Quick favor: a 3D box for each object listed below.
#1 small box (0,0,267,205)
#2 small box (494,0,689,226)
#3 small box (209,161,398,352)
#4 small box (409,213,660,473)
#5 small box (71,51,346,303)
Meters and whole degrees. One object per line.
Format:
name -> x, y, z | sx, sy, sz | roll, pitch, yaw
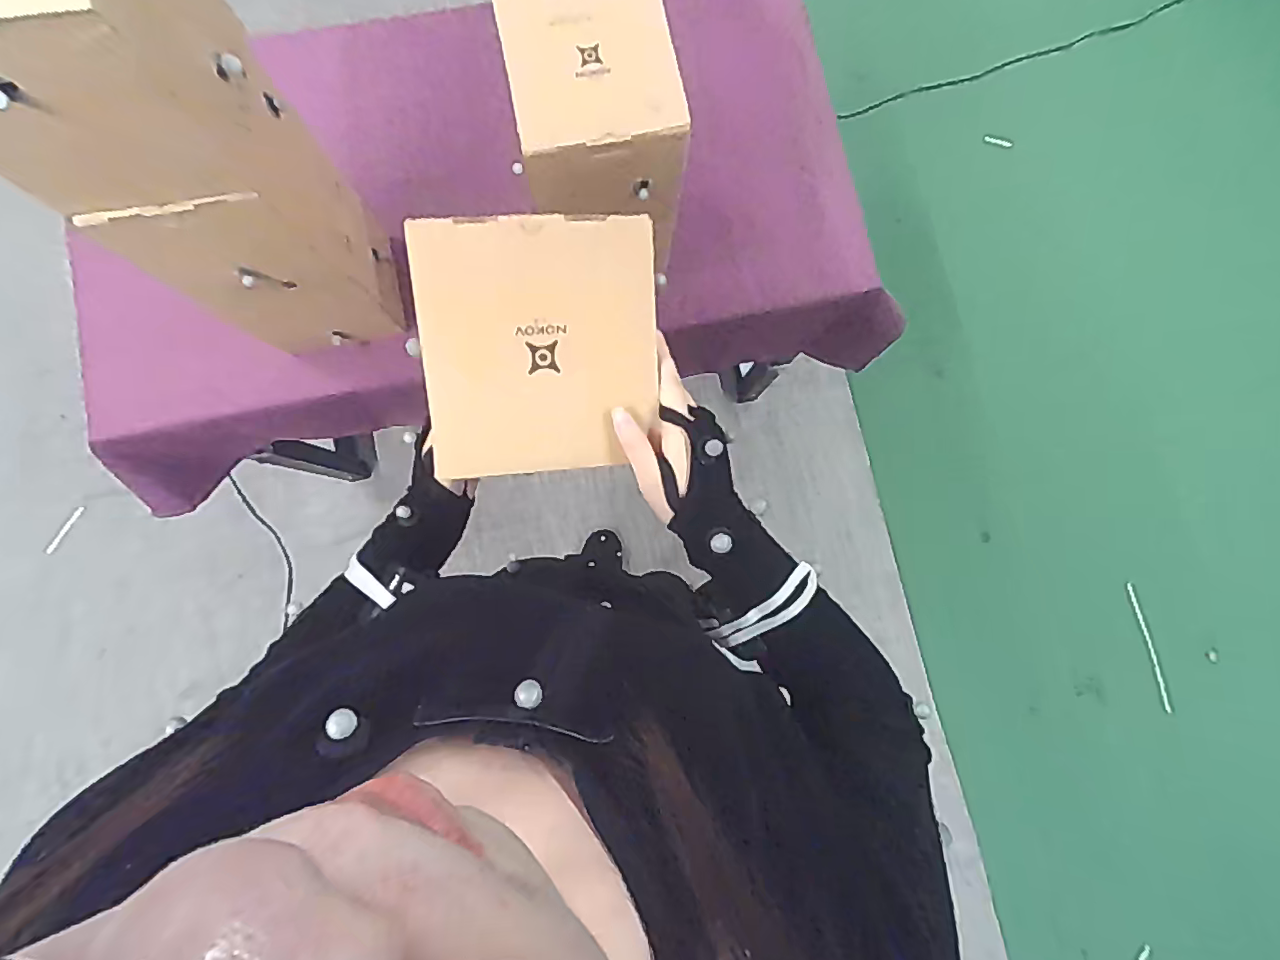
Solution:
small box -> -0.431, -0.338, 0.413 | 0.179, 0.176, 0.168 | -10, 84, -5
small box -> -0.050, -0.396, 0.605 | 0.168, 0.176, 0.179 | -12, 84, -4
small box -> -0.451, -0.293, 0.739 | 0.179, 0.176, 0.168 | -13, 84, -5
small box -> -0.080, -0.113, 0.460 | 0.168, 0.176, 0.179 | -5, 103, -9
small box -> -0.443, -0.317, 0.575 | 0.168, 0.176, 0.179 | -12, 84, -4
